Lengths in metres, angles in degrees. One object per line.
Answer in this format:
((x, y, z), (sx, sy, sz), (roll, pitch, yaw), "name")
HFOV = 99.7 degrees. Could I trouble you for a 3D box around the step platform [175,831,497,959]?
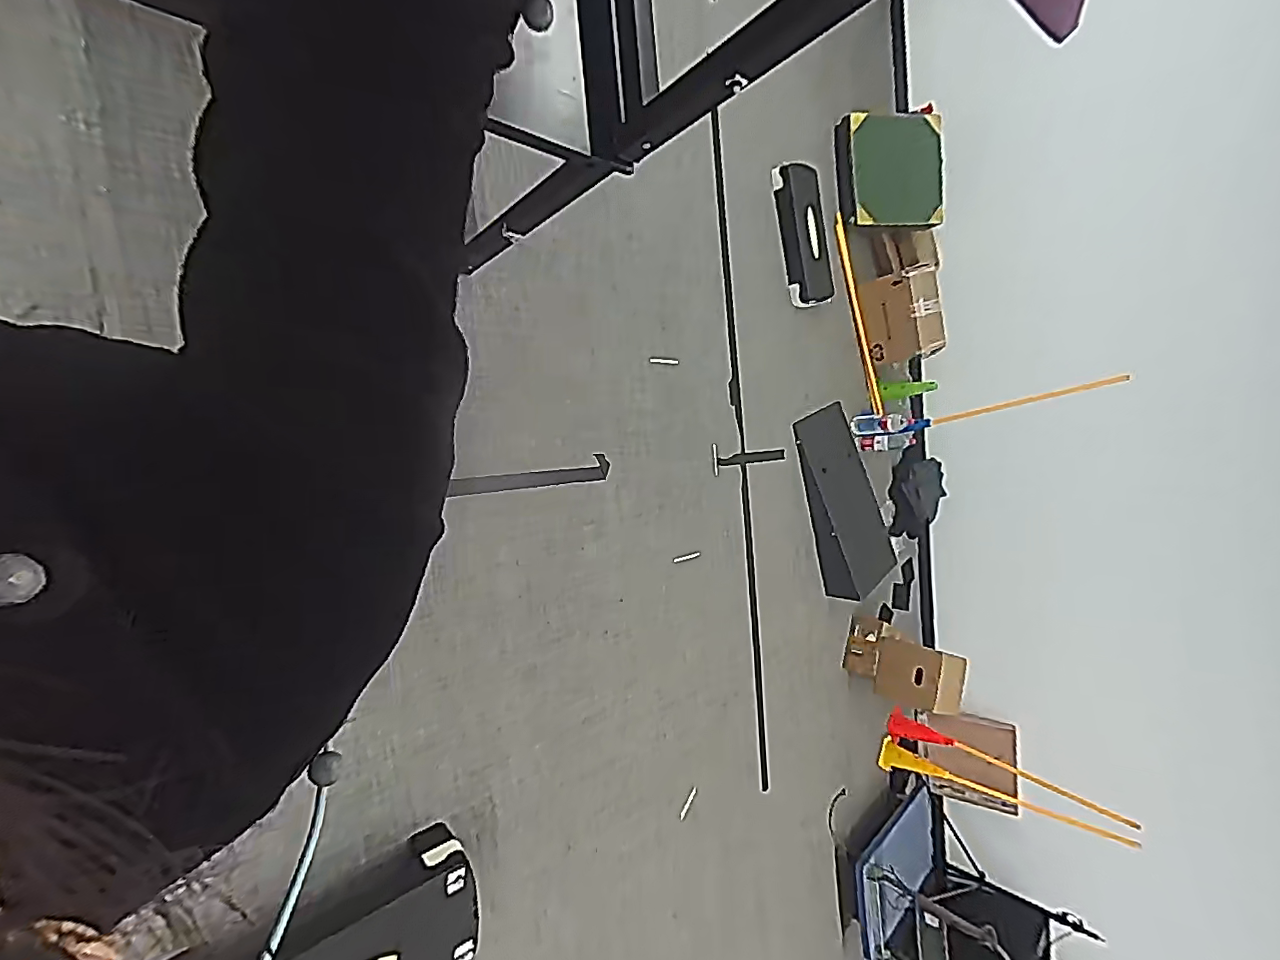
((-0.683, 1.140, 1.281), (0.684, 0.204, 0.286), (0, 89, -42), "step platform")
